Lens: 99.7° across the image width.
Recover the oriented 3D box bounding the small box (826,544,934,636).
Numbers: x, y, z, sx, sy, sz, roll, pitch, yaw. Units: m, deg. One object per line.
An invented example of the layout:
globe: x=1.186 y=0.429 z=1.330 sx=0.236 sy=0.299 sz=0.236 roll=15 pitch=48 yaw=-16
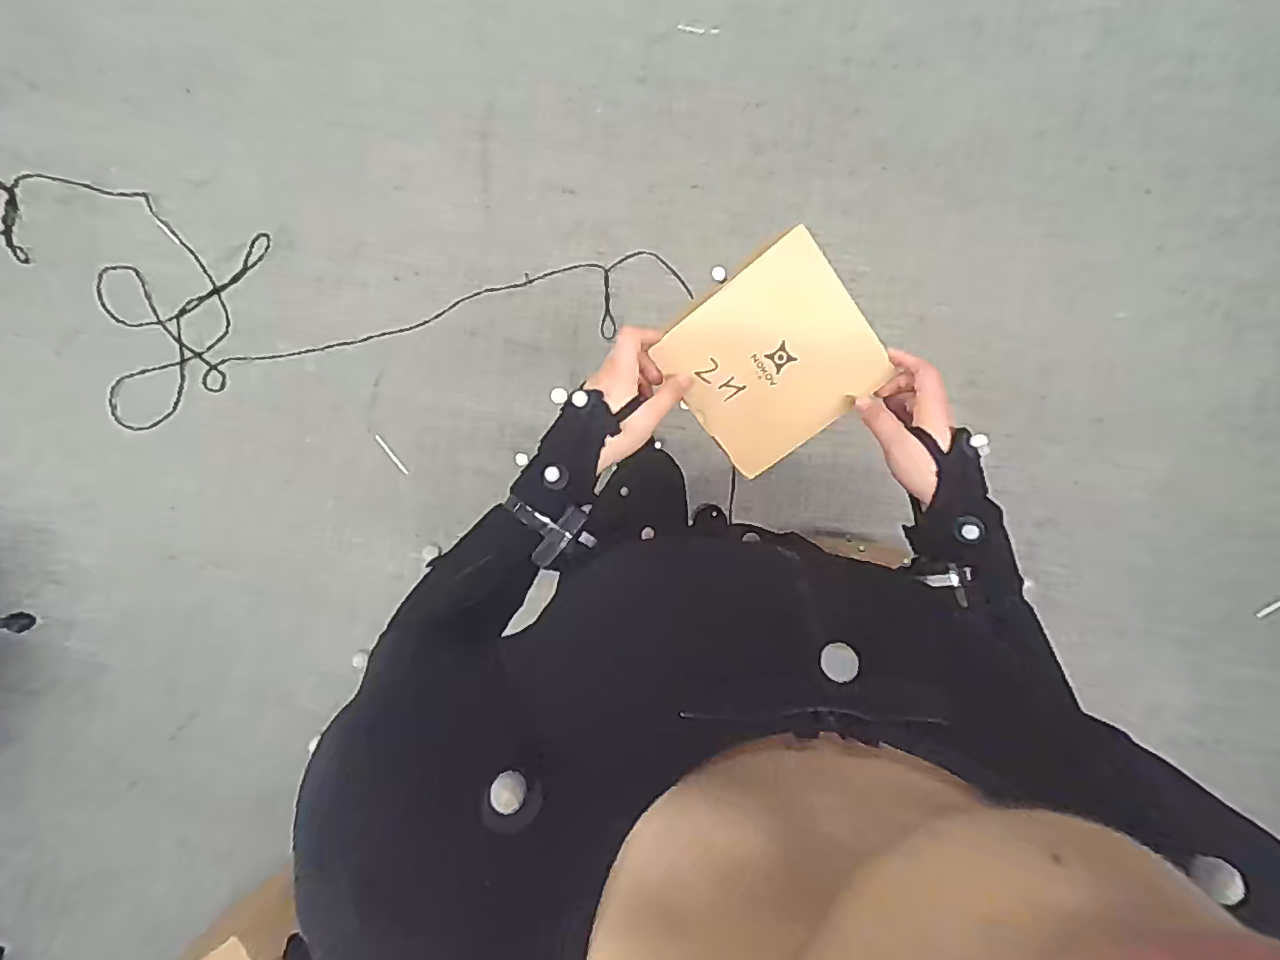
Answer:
small box: x=0.538 y=0.245 z=1.237 sx=0.179 sy=0.176 sz=0.168 roll=3 pitch=95 yaw=1

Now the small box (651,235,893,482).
small box: x=0.126 y=-0.134 z=0.584 sx=0.179 sy=0.176 sz=0.168 roll=-38 pitch=104 yaw=15

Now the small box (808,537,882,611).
small box: x=0.545 y=0.245 z=1.400 sx=0.179 sy=0.176 sz=0.168 roll=5 pitch=94 yaw=3
